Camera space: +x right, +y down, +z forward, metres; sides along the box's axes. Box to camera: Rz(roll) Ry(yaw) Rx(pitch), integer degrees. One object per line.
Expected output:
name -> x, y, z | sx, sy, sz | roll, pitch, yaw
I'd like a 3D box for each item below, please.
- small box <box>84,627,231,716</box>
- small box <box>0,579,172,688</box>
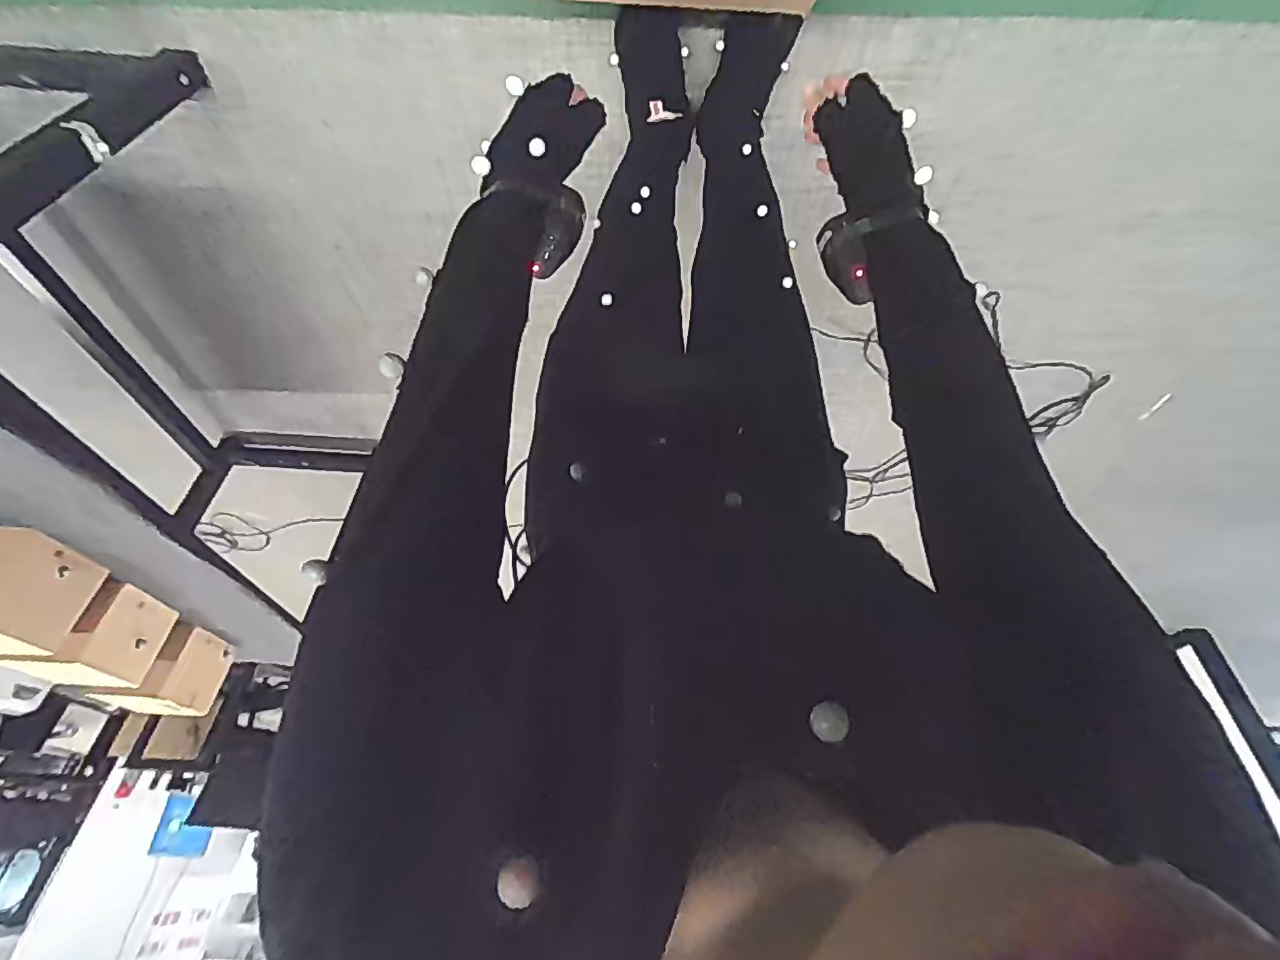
small box -> -1.125, 0.453, 1.286 | 0.179, 0.176, 0.168 | 2, 143, 3
small box -> -1.111, 0.312, 1.098 | 0.179, 0.176, 0.168 | 4, 144, 0
